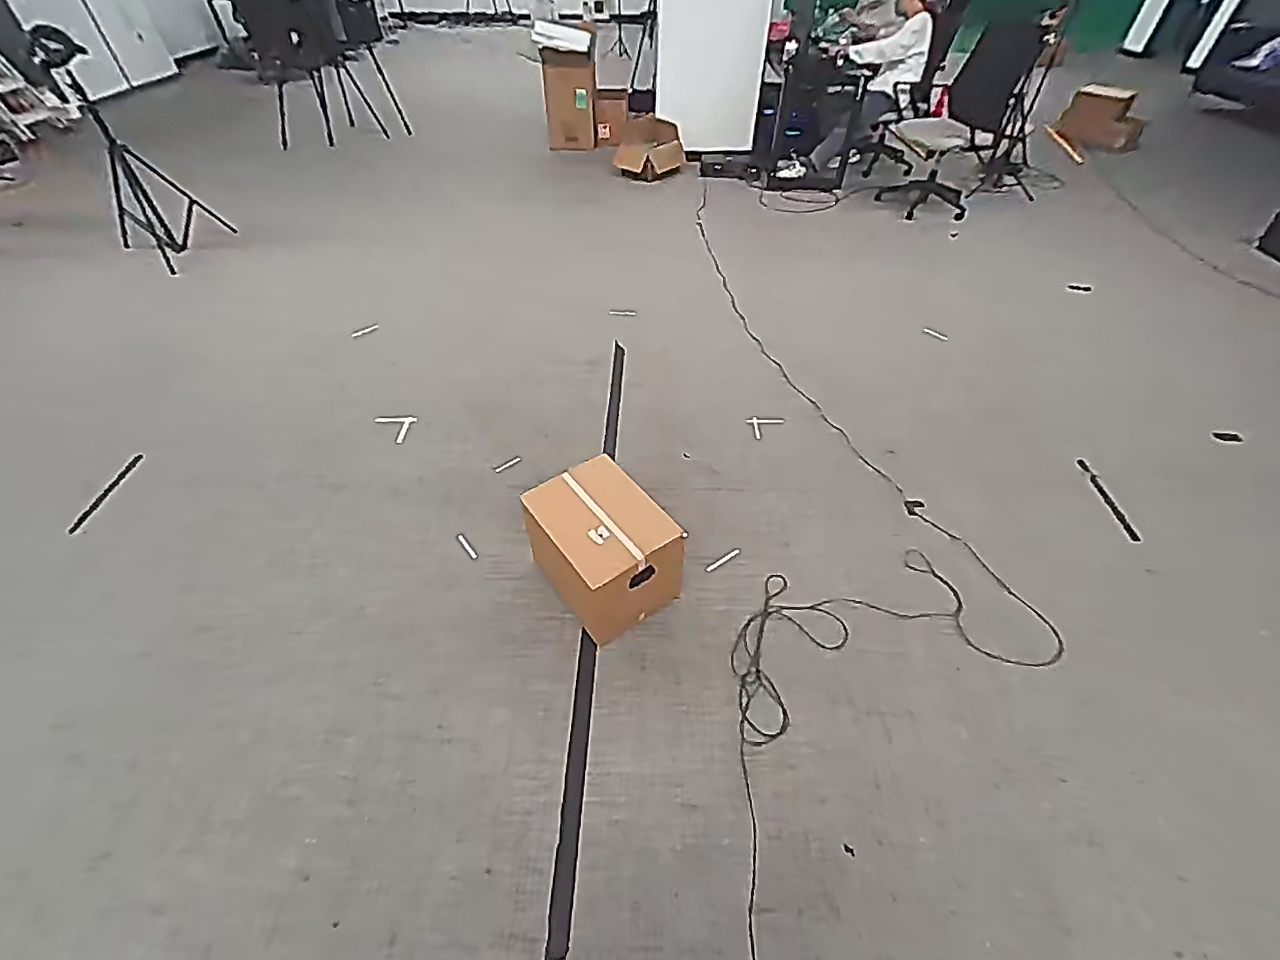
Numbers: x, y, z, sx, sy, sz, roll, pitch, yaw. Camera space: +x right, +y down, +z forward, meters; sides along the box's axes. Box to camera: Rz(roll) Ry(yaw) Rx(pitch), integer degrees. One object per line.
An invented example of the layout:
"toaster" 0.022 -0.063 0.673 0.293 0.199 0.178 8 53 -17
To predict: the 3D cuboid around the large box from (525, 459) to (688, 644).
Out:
"large box" -0.109 0.210 1.659 0.320 0.320 0.408 -28 53 -24
